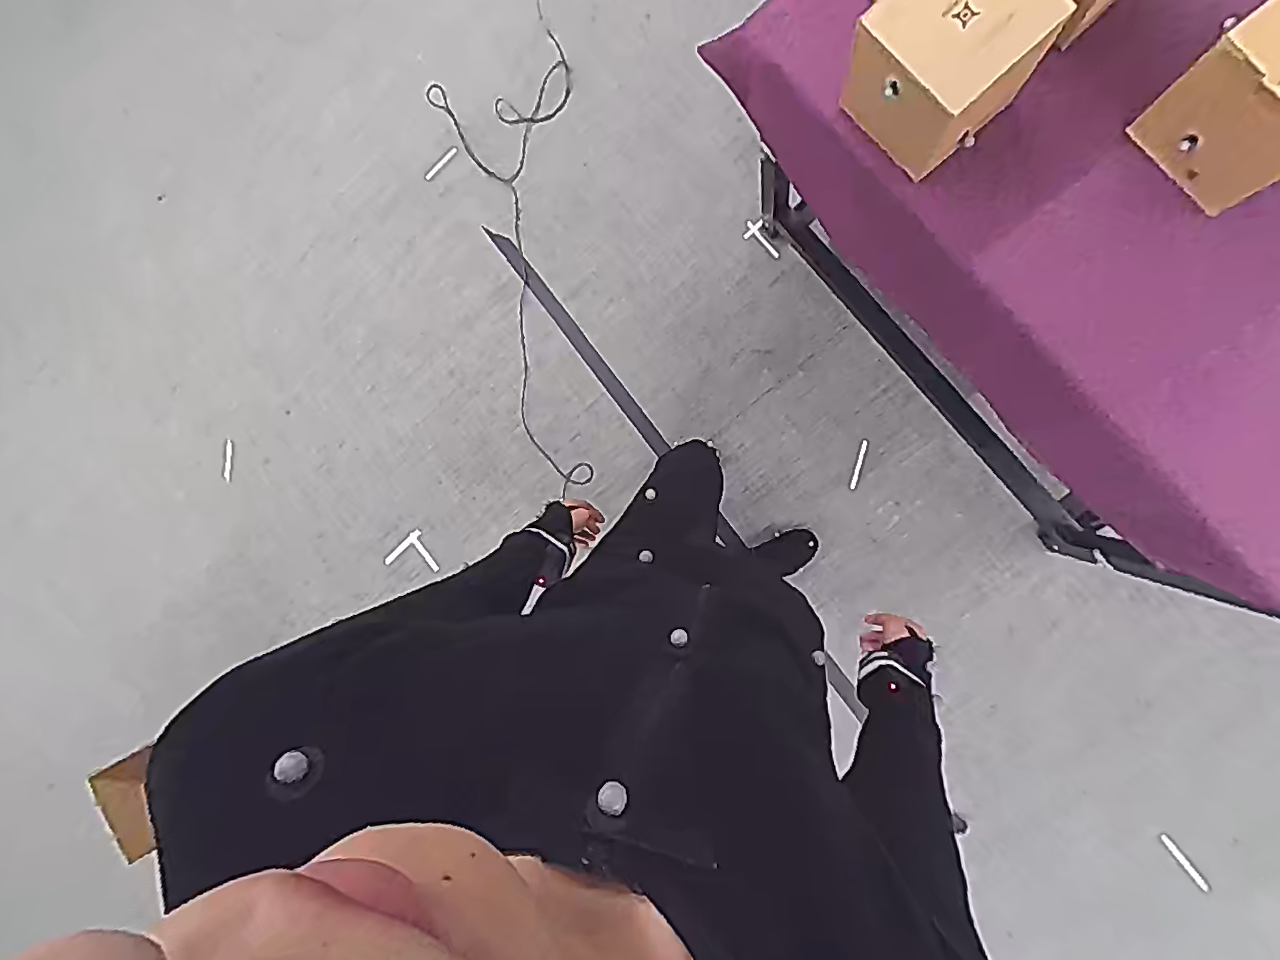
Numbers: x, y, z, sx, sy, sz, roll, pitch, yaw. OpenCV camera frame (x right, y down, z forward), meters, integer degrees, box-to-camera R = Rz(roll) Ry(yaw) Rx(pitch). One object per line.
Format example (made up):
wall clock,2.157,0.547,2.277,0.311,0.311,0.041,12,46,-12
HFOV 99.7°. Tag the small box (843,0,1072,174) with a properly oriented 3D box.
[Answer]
small box,0.395,-0.555,0.715,0.168,0.176,0.179,-40,83,11

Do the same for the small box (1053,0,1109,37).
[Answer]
small box,0.568,-0.719,0.670,0.168,0.176,0.179,-43,83,11
